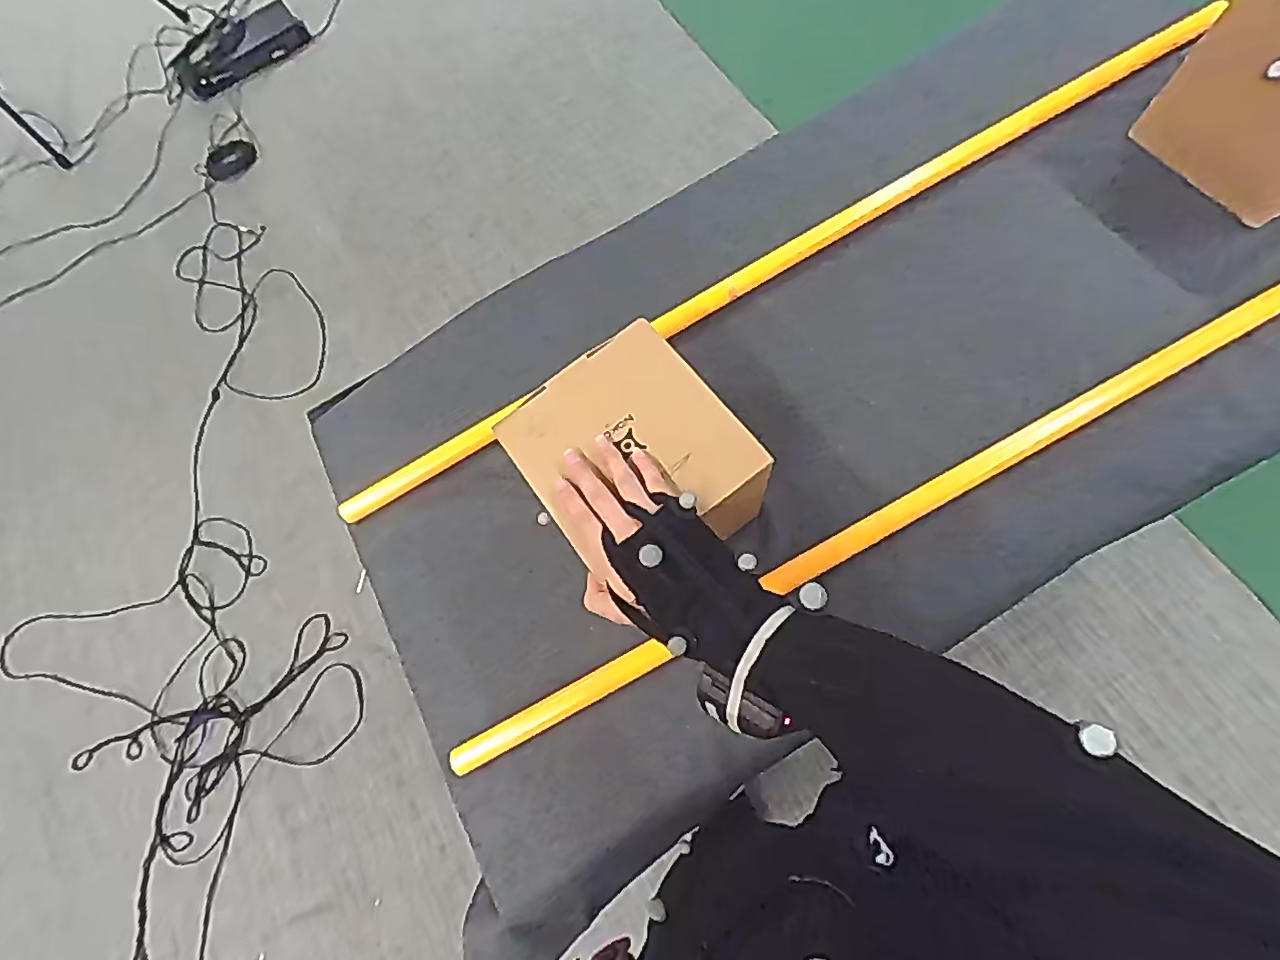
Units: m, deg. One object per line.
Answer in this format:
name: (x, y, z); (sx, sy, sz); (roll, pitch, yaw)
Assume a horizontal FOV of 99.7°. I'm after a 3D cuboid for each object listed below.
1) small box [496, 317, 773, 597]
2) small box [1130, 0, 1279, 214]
small box: (0.000, -0.008, 0.512); (0.168, 0.176, 0.179); (-38, 71, -4)
small box: (0.669, -0.401, 0.536); (0.168, 0.176, 0.179); (-30, 69, -1)
